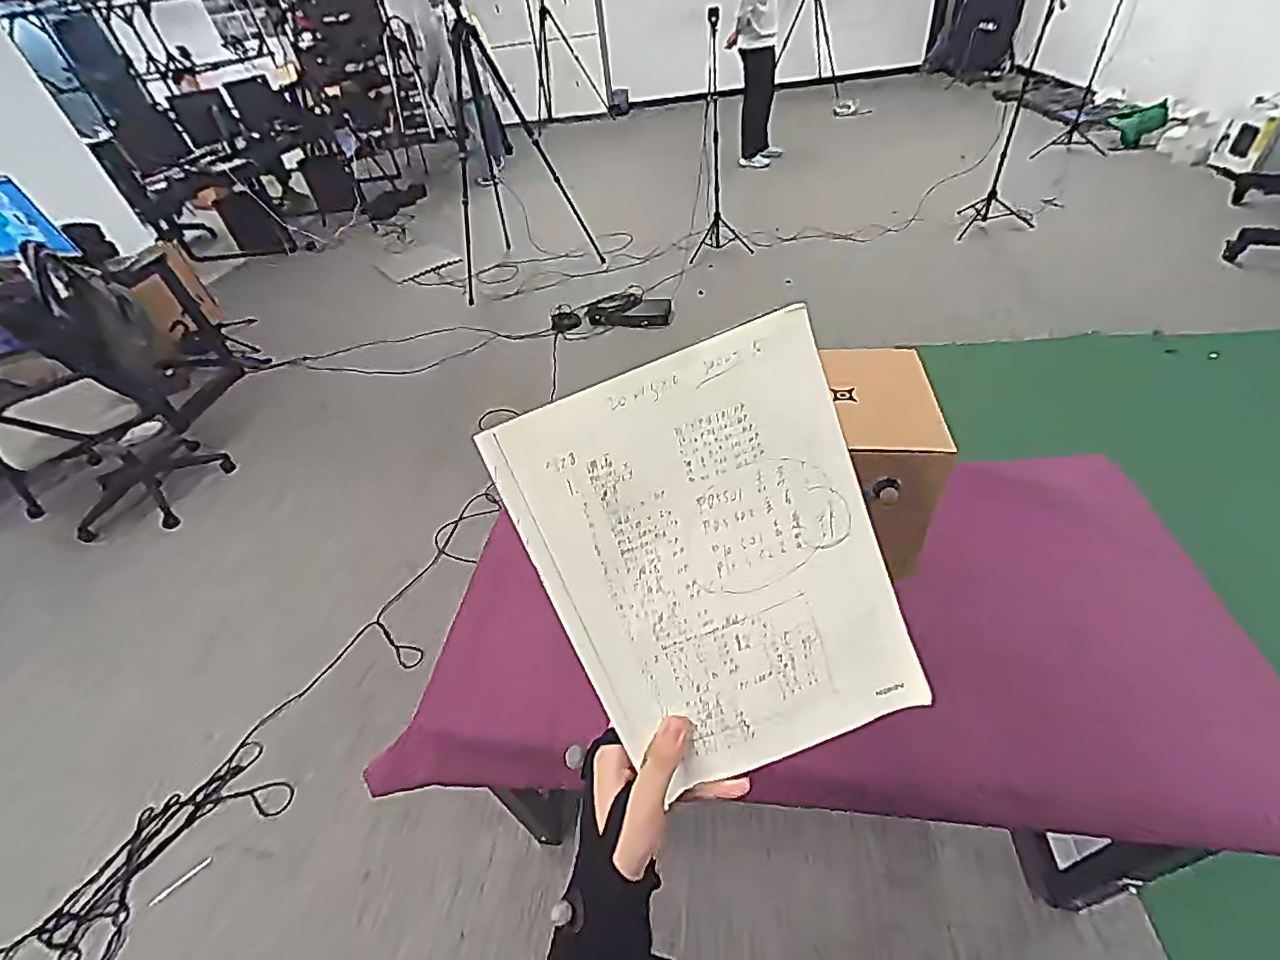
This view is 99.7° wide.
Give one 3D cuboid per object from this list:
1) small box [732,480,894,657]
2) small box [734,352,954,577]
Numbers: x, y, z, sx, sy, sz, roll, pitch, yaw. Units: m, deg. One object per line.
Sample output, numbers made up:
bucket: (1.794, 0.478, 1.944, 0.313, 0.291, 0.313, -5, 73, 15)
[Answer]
small box: (0.201, 0.102, 0.675, 0.168, 0.176, 0.179, 0, 42, 10)
small box: (0.190, -0.016, 0.559, 0.179, 0.176, 0.168, 2, 42, 12)
